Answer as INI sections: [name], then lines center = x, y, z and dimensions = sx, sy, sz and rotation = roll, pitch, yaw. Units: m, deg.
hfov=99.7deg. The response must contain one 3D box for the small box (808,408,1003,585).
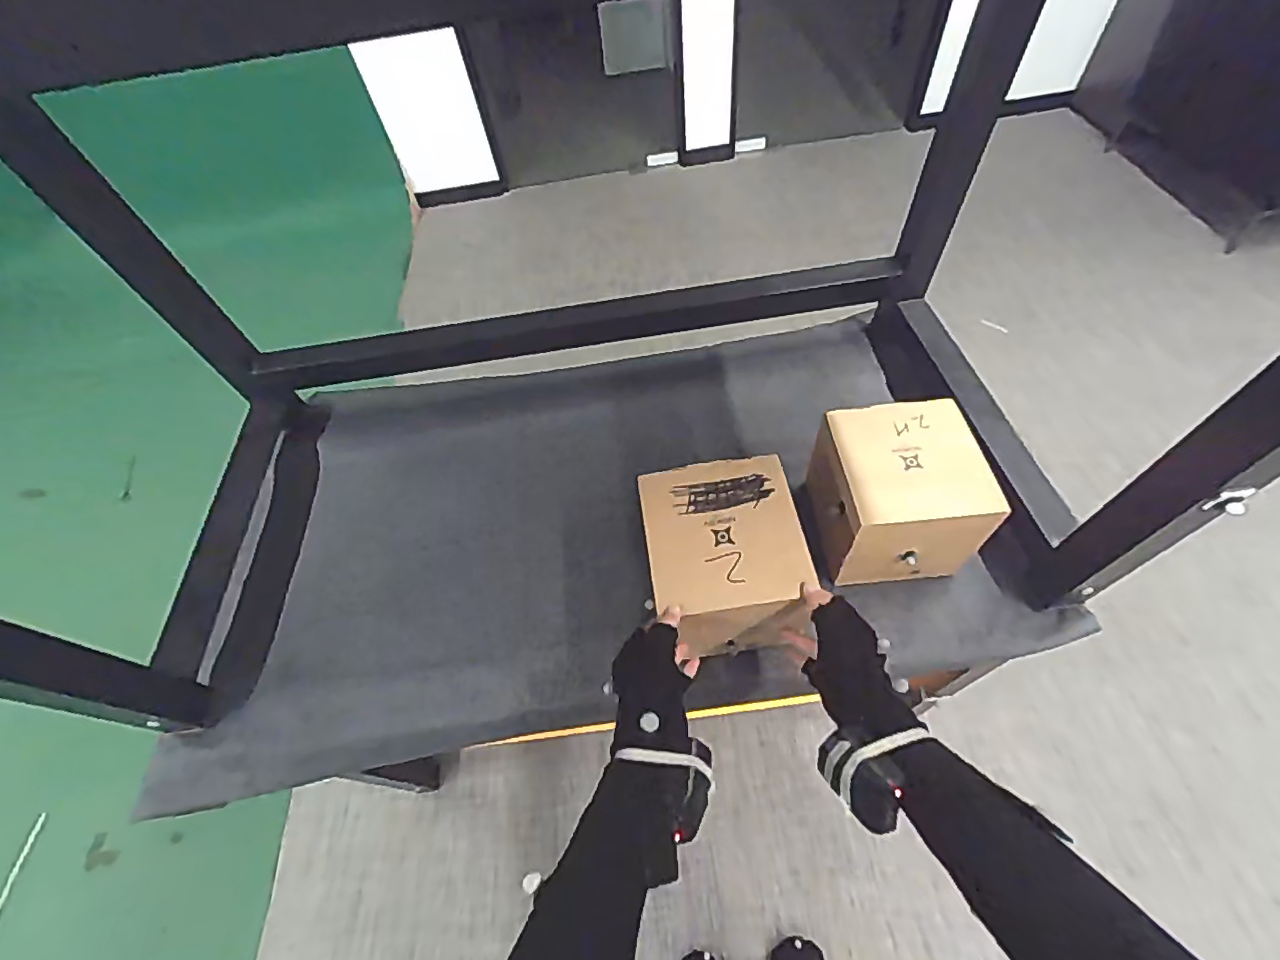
[small box]
center = 0.331, 0.030, 0.718
dimensions = 0.168, 0.176, 0.179
rotation = -5, 54, 4
